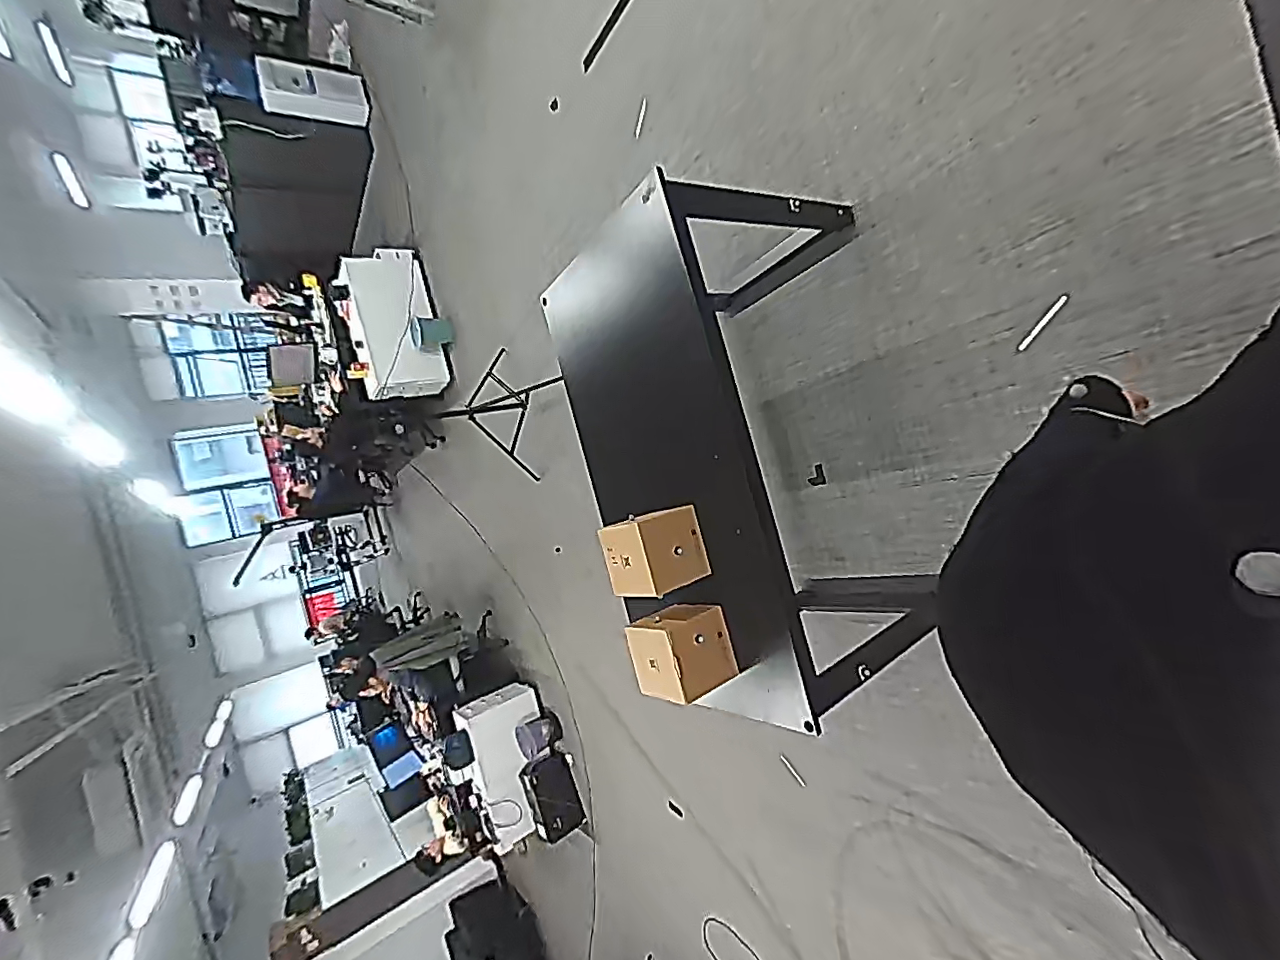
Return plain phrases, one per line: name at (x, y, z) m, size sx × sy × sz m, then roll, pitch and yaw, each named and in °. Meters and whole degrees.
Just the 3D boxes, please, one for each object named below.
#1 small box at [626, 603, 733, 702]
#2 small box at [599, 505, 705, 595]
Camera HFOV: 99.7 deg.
small box at (0.098, 0.393, 1.264) m, size 0.179 × 0.176 × 0.168 m, roll -19°, pitch 85°, yaw 56°
small box at (0.033, 0.162, 1.265) m, size 0.179 × 0.176 × 0.168 m, roll -16°, pitch 88°, yaw 55°
